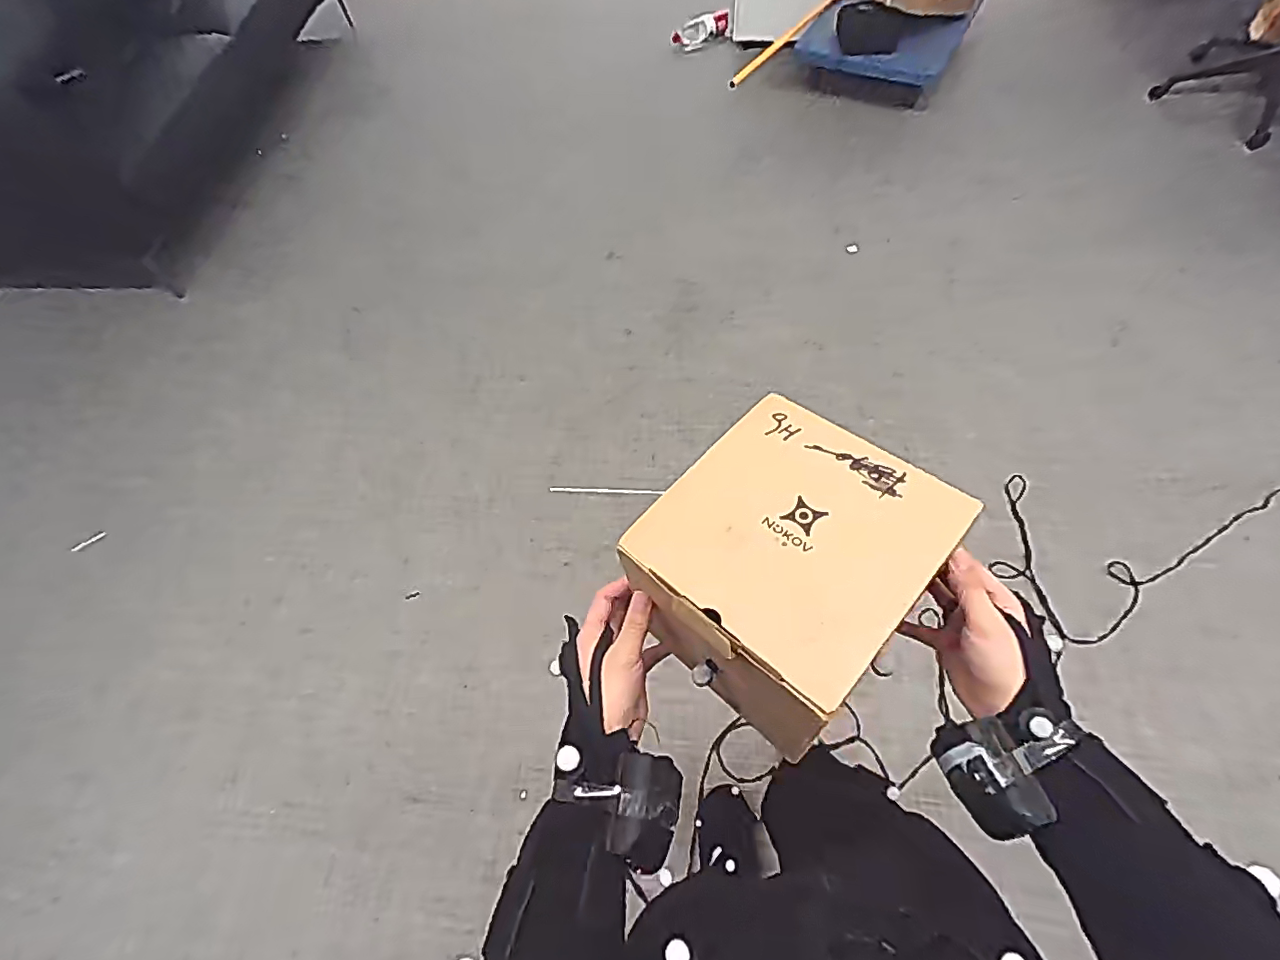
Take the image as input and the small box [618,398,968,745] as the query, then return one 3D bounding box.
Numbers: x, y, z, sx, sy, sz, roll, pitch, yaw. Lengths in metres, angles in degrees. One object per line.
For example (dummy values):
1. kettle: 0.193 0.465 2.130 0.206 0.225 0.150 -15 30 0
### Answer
1. small box: 0.111 0.077 0.427 0.168 0.176 0.179 36 68 28
